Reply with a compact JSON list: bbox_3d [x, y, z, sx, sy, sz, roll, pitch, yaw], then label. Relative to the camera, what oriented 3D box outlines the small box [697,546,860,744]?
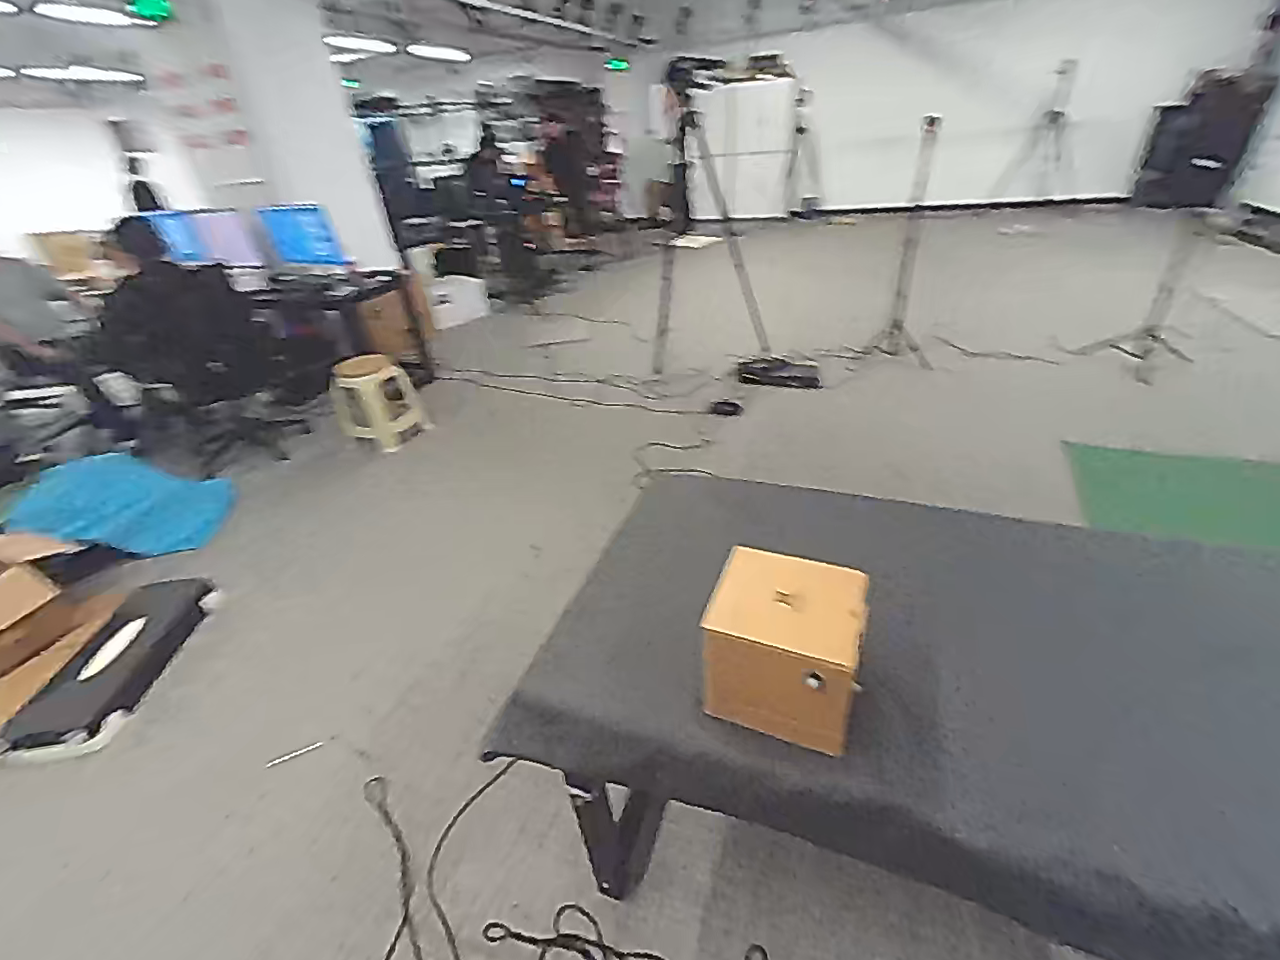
[{"bbox_3d":[0.184,0.215,0.719,0.179,0.176,0.168,9,34,22],"label":"small box"}]
